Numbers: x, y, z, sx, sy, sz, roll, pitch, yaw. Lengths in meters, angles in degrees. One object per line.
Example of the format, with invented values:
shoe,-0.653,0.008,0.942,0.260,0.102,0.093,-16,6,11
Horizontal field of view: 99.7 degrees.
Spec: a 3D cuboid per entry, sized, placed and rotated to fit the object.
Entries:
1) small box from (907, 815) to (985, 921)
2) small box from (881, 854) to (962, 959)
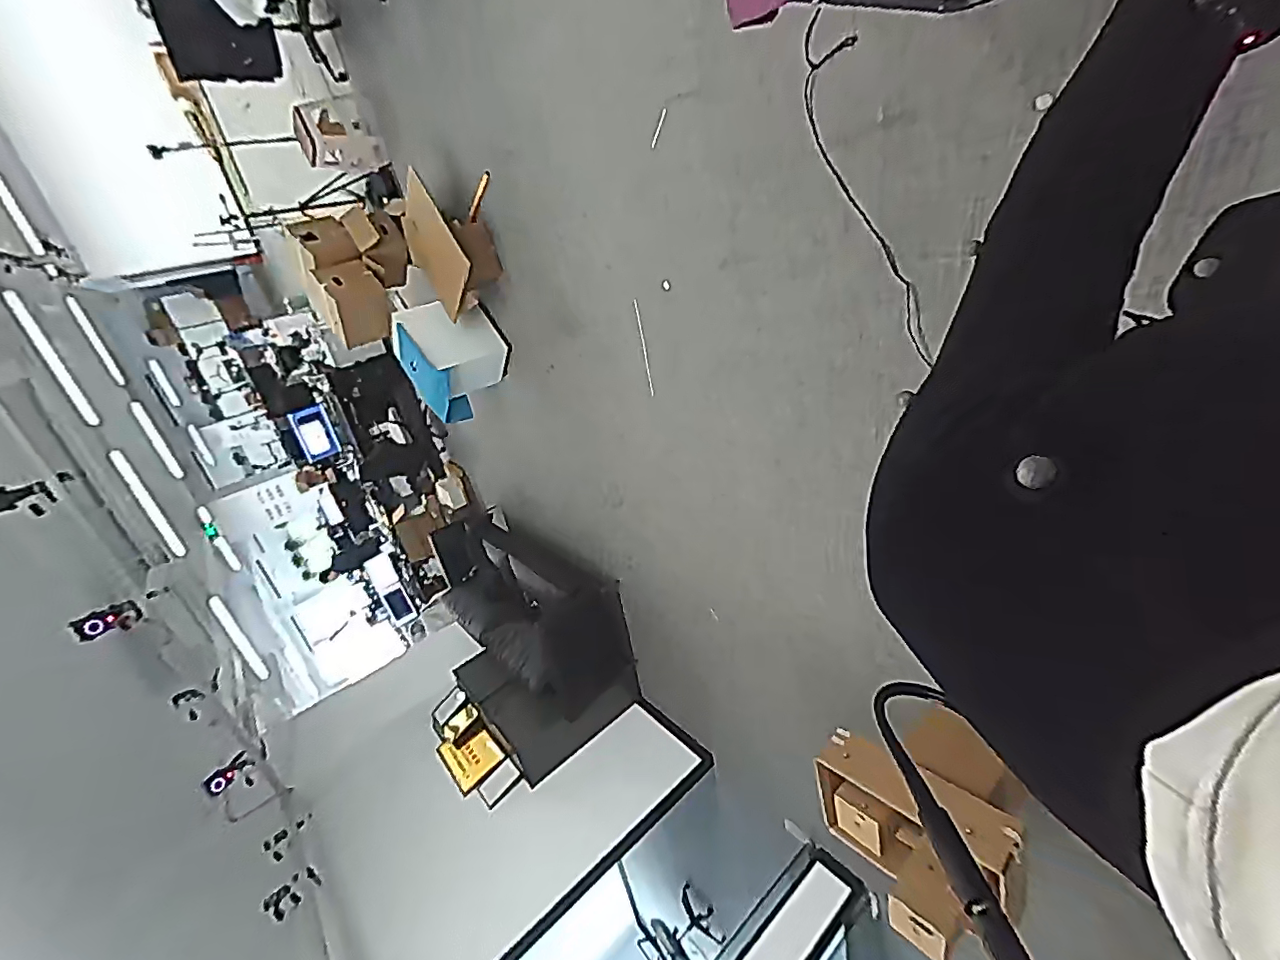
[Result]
small box,0.967,1.214,1.707,0.168,0.176,0.179,12,124,50
small box,0.843,1.282,1.622,0.168,0.176,0.179,18,129,48
